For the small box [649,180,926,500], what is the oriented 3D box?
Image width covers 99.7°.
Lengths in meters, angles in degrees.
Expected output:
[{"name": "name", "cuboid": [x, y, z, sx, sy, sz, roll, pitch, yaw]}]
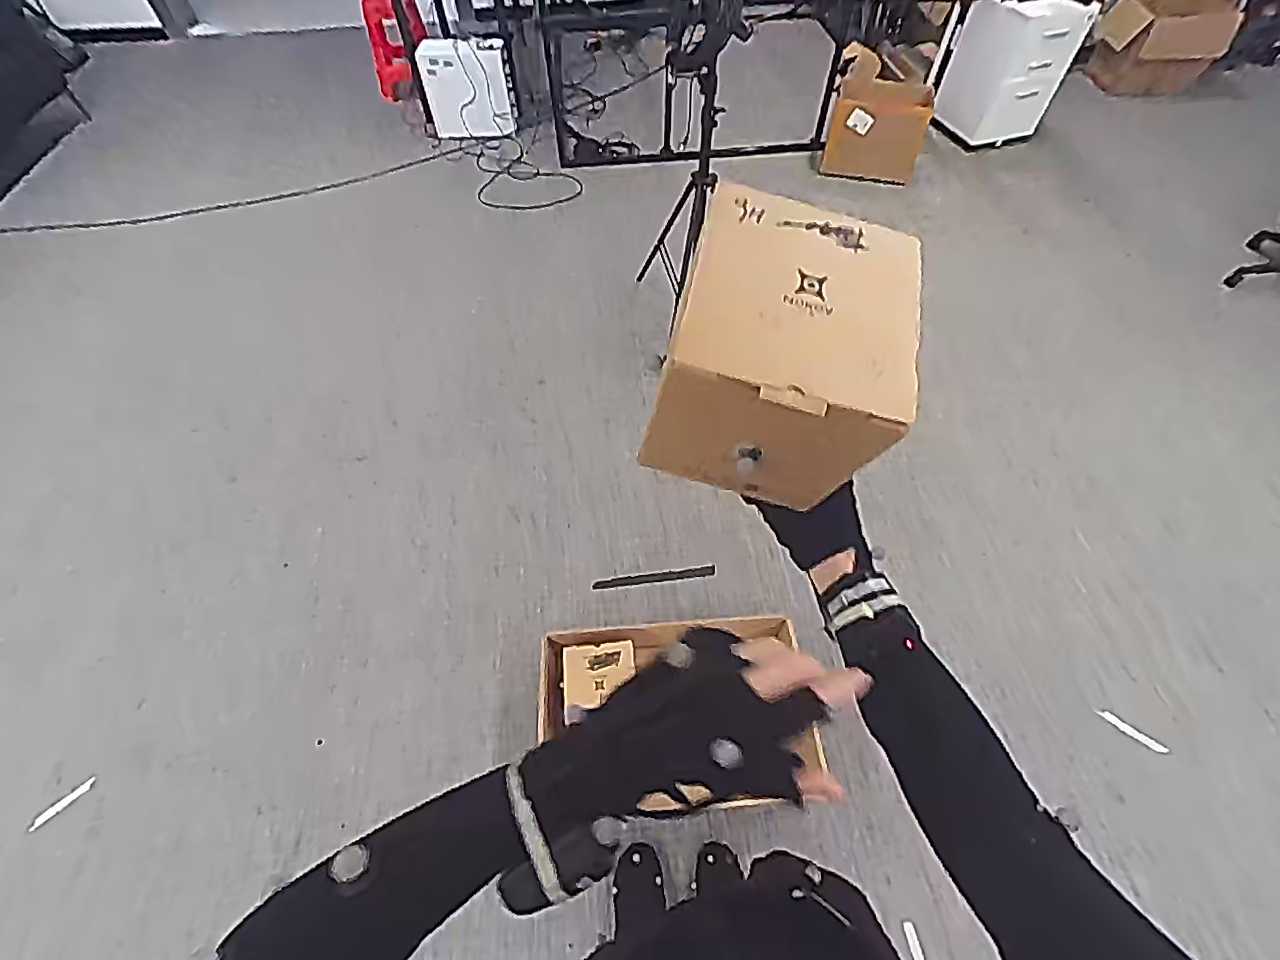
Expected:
[{"name": "small box", "cuboid": [0.109, -0.101, 0.452, 0.168, 0.176, 0.179, 15, 67, -1]}]
